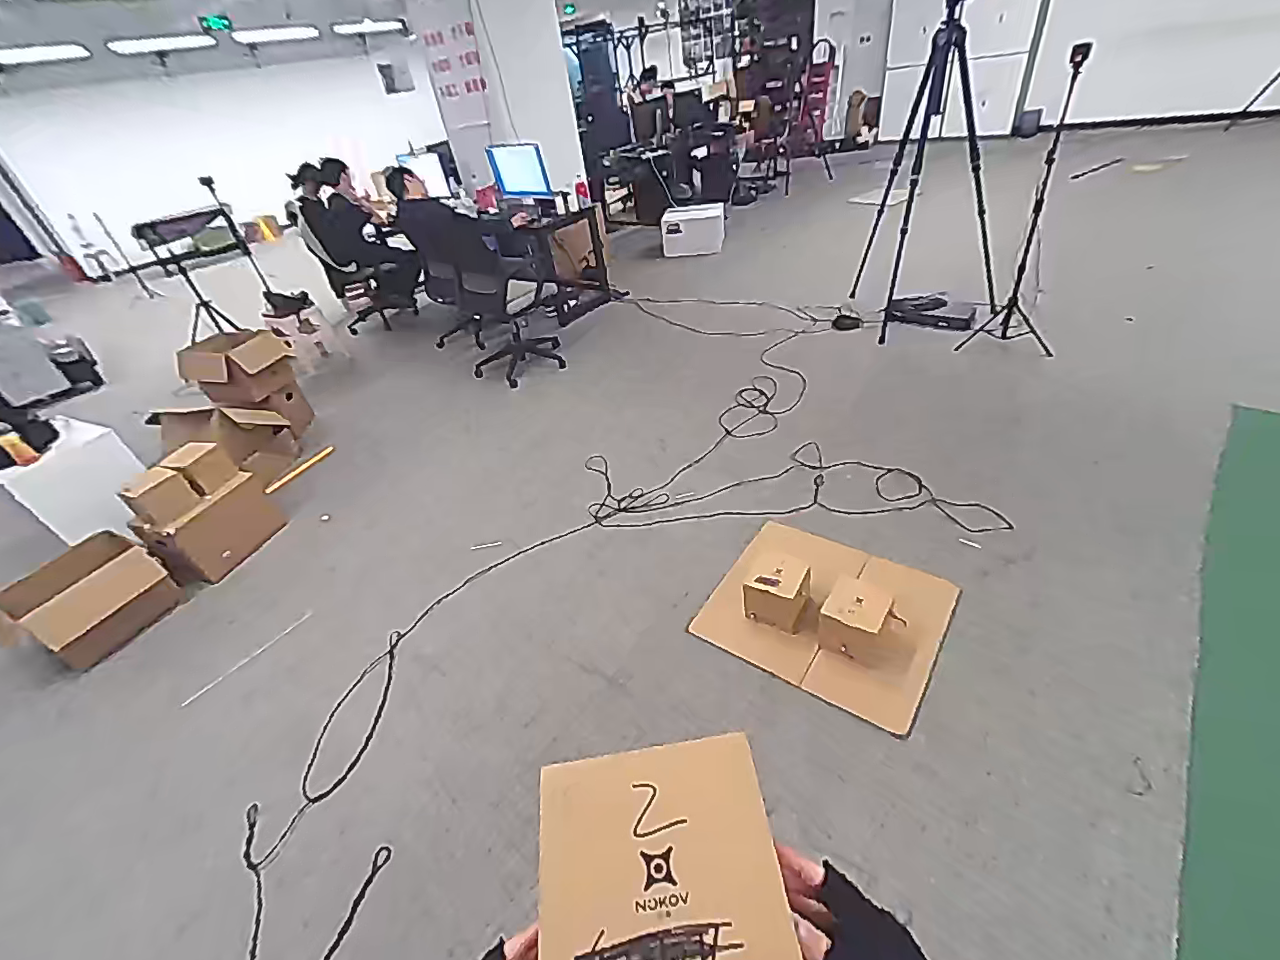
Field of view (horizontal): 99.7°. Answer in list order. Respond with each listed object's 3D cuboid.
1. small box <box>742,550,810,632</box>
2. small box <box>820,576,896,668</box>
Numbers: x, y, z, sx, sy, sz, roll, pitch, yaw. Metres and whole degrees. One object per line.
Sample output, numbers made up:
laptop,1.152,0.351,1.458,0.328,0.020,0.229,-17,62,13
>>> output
small box,0.449,0.366,1.769,0.168,0.176,0.179,14,43,30
small box,0.654,0.429,1.638,0.168,0.176,0.179,17,45,34
